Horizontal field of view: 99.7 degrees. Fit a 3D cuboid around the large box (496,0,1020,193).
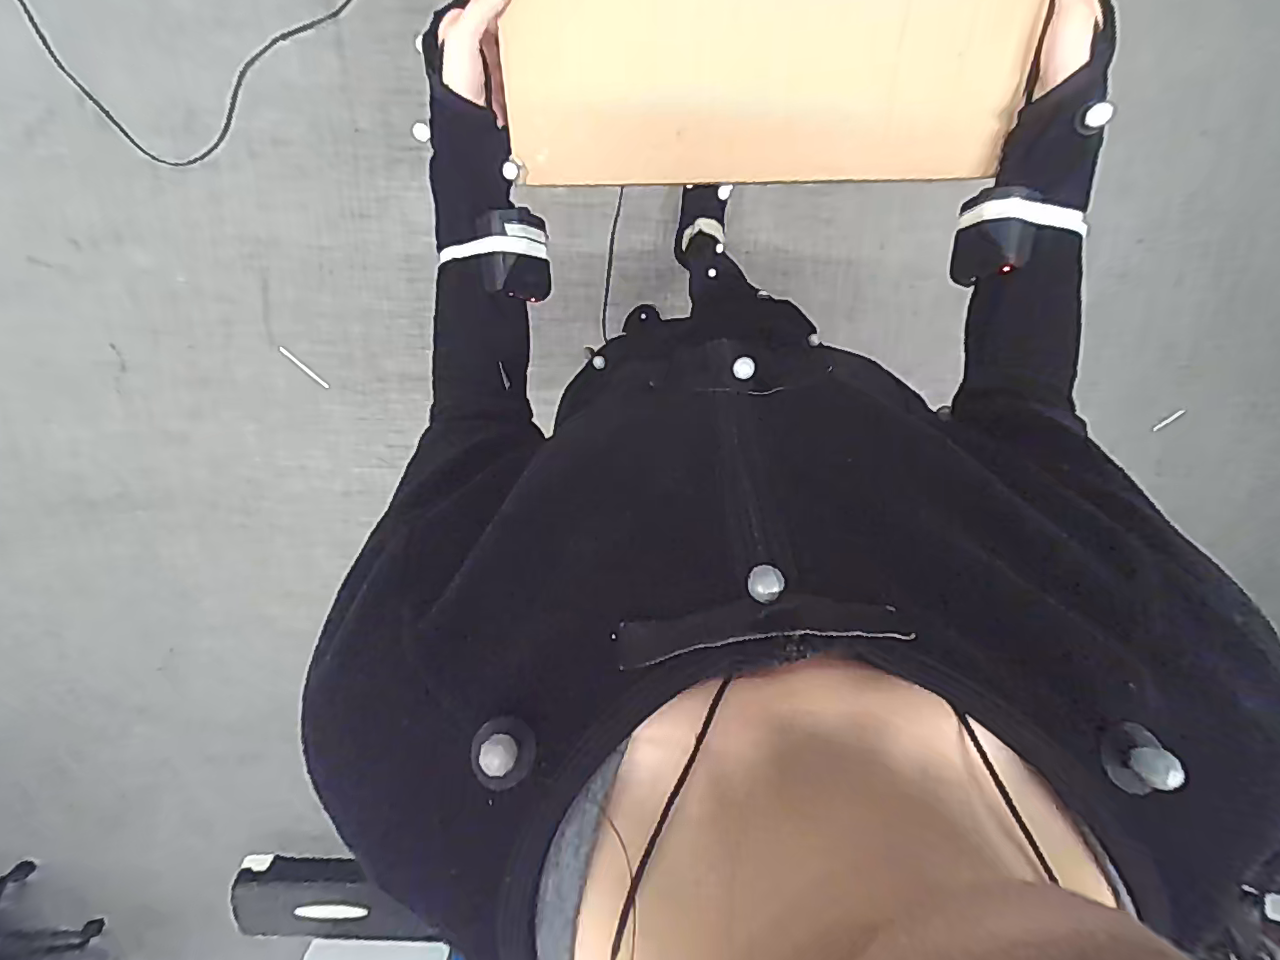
[{"bbox_3d":[0.087,-0.462,0.518,0.408,0.320,0.320,-2,118,0],"label":"large box"}]
